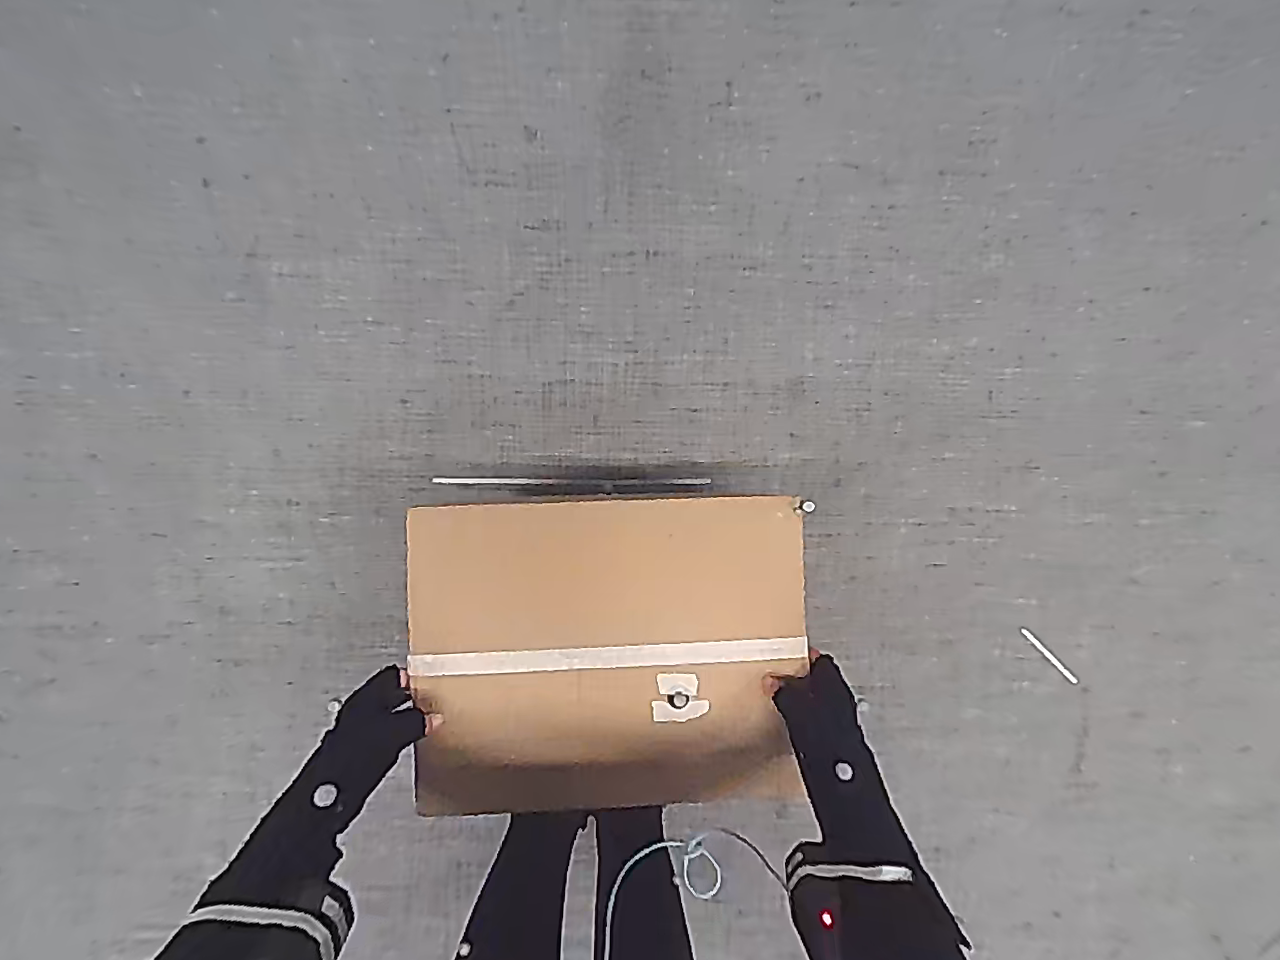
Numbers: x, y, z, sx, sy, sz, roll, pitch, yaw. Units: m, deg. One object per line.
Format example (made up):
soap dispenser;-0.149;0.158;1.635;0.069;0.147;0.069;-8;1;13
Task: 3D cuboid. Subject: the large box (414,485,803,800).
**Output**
large box;-0.039;0.169;0.714;0.408;0.320;0.320;-2;91;-3
